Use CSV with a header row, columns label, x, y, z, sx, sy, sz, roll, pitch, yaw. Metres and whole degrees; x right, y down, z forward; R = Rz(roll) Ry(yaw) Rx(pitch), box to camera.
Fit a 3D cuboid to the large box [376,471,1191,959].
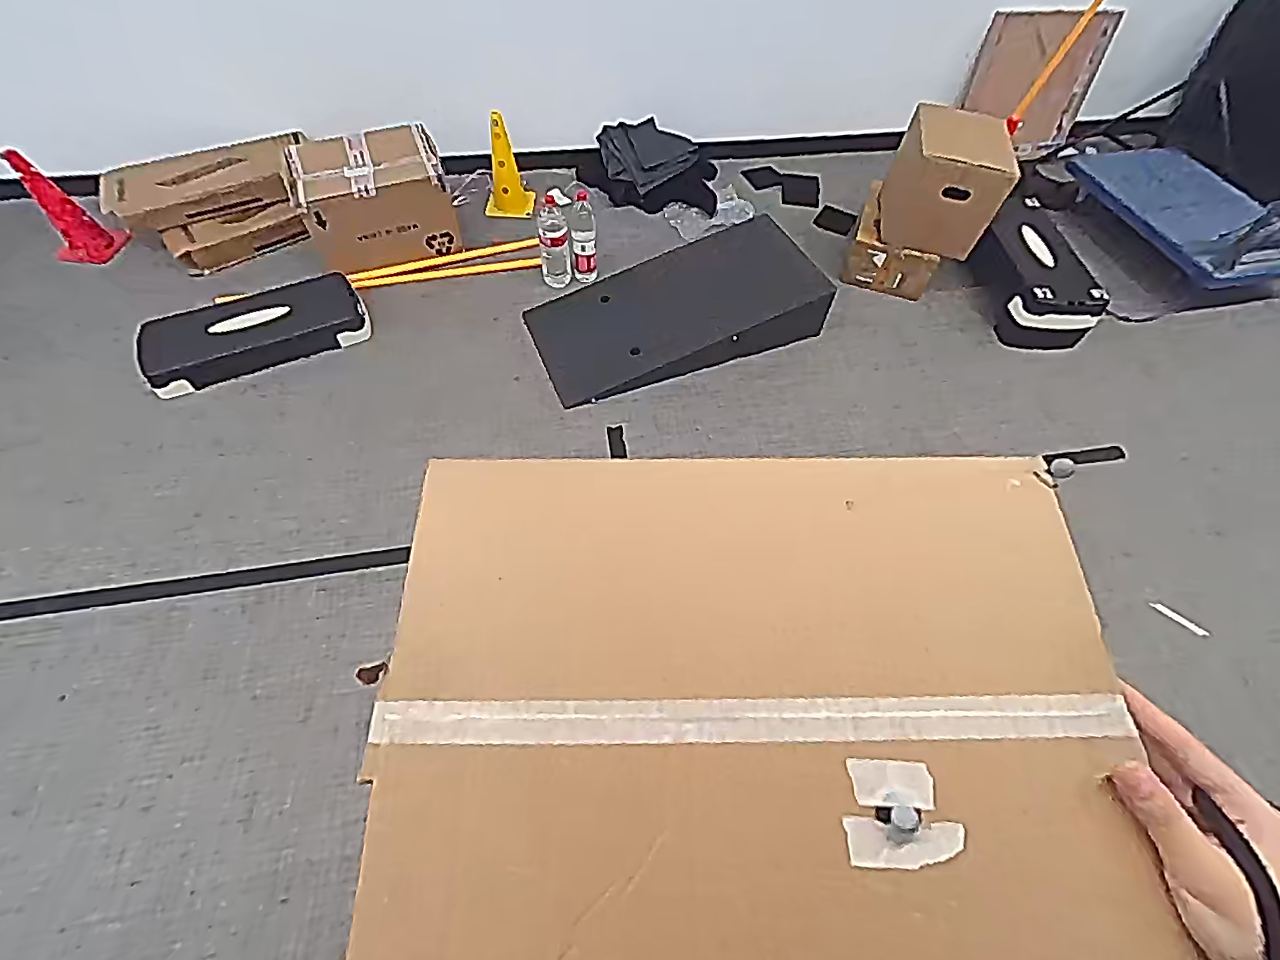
label,x,y,z,sx,sy,sz,roll,pitch,yaw
large box,0.065,0.198,0.439,0.408,0.320,0.320,-1,67,-1
